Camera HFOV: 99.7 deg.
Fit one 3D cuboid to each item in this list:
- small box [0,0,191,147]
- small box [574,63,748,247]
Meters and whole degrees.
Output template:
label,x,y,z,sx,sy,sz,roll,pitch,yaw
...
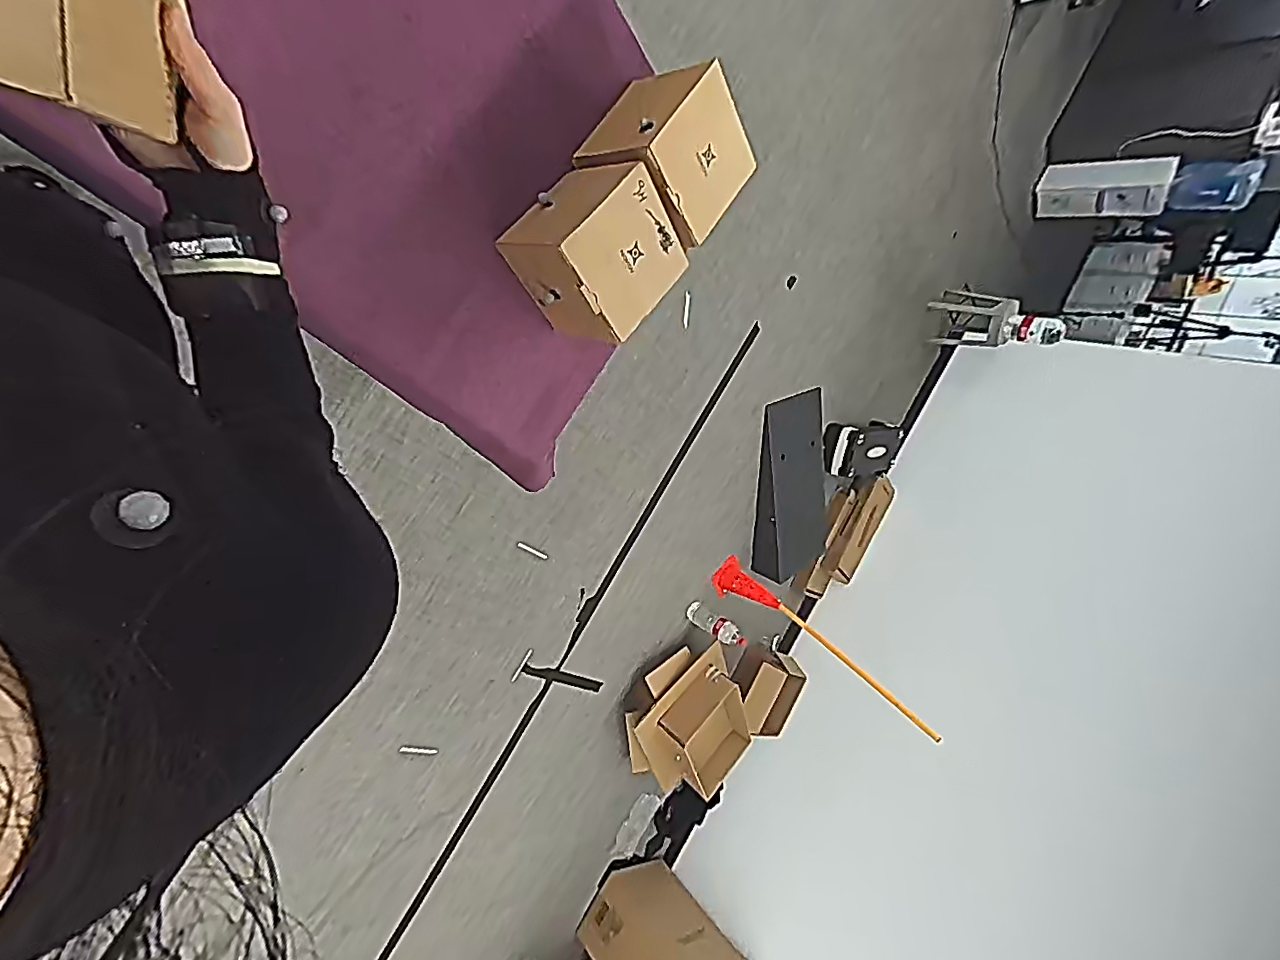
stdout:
label,x,y,z,sx,sy,sz,roll,pitch,yaw
small box,-0.319,-0.274,0.234,0.168,0.176,0.179,5,111,-30
small box,0.031,-0.489,0.832,0.179,0.176,0.168,-57,138,-10
